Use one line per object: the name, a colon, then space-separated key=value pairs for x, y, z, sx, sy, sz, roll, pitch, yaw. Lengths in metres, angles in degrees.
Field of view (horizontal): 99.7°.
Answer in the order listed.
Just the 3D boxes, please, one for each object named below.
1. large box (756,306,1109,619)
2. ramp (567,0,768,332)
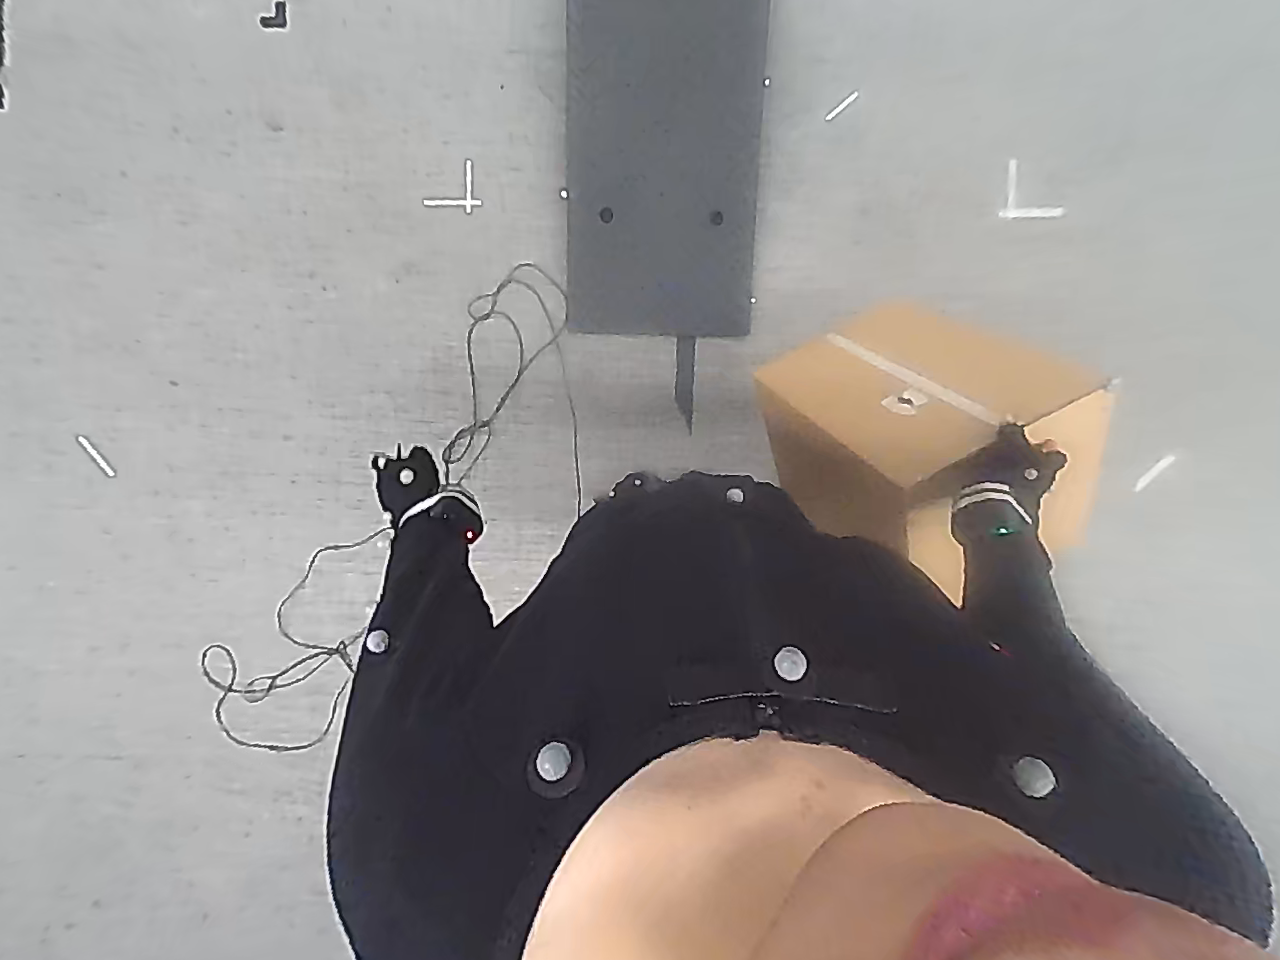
large box: x=0.453 y=-0.050 z=0.931 sx=0.320 sy=0.408 sz=0.320 roll=-26 pitch=127 yaw=-3
ramp: x=0.064 y=-0.893 z=1.365 sx=0.509 sy=0.206 sz=0.991 roll=-1 pitch=93 yaw=-1
